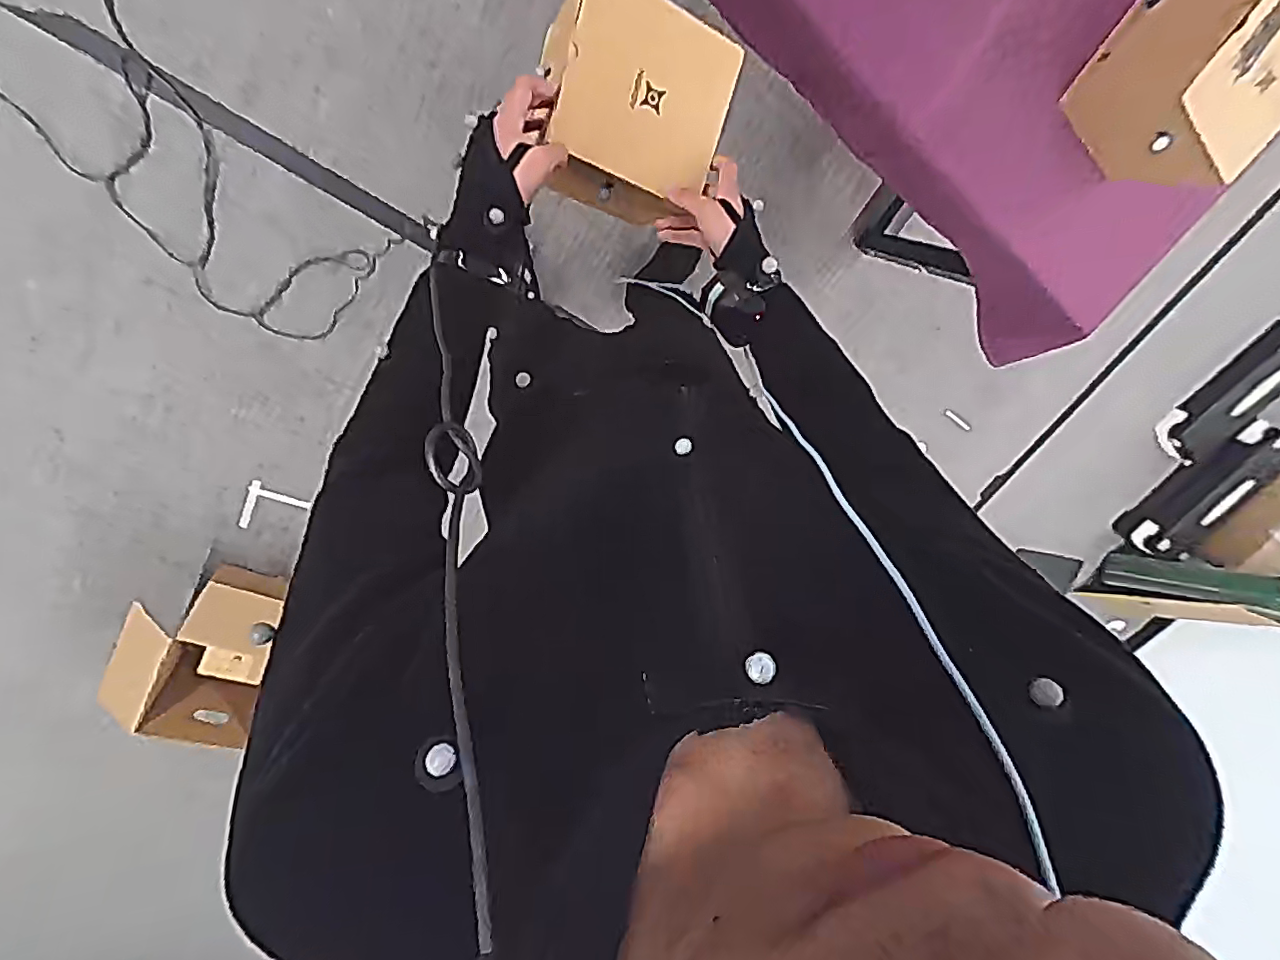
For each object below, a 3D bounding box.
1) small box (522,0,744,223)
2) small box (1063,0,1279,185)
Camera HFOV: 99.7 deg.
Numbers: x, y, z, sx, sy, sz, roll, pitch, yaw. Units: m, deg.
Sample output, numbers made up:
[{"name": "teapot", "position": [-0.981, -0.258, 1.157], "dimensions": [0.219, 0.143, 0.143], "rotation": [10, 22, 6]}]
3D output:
[{"name": "small box", "position": [-0.019, -0.406, 0.611], "dimensions": [0.179, 0.176, 0.168], "rotation": [12, 104, -25]}, {"name": "small box", "position": [0.710, -0.512, 0.701], "dimensions": [0.179, 0.176, 0.168], "rotation": [24, 113, -27]}]
